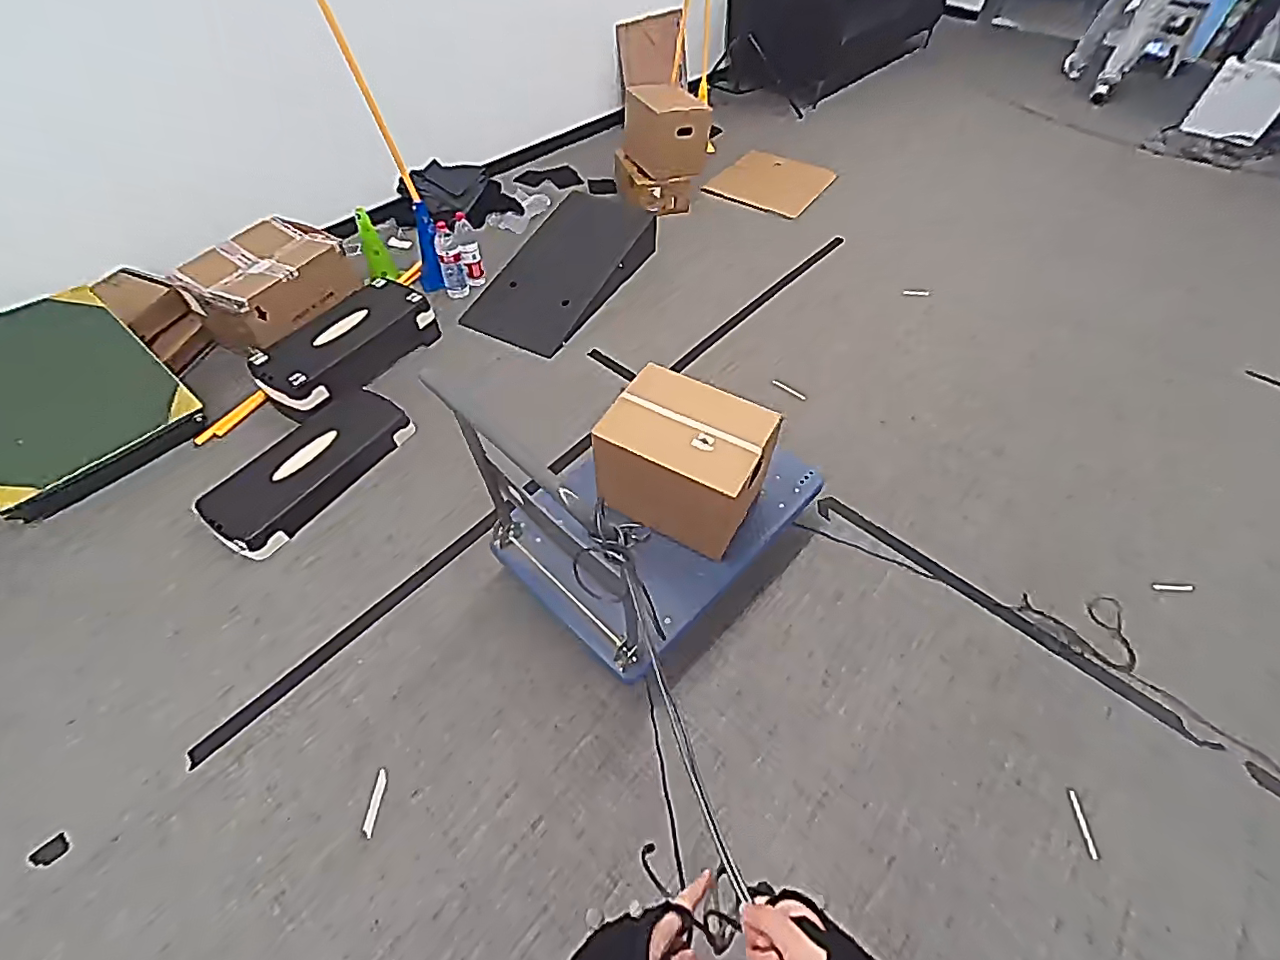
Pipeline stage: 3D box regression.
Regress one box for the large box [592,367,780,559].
[{"bbox_3d":[0.115,-0.048,1.500,0.408,0.320,0.320,25,57,16],"label":"large box"}]
